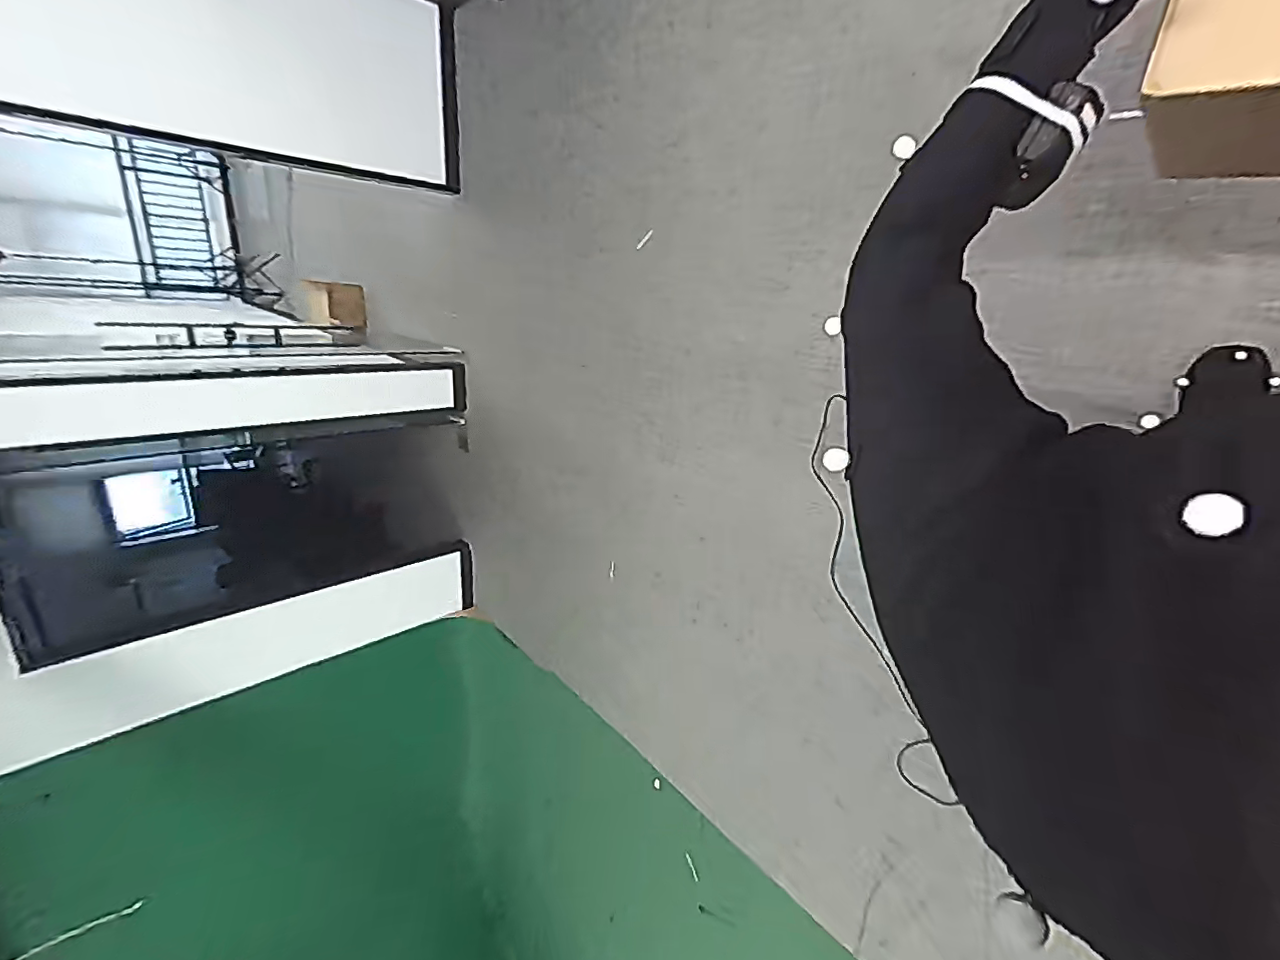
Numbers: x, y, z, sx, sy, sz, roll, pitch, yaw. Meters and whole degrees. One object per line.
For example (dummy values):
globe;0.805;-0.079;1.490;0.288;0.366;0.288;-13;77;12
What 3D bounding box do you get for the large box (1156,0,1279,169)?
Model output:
large box;0.625;-0.404;0.322;0.408;0.320;0.320;23;116;38
